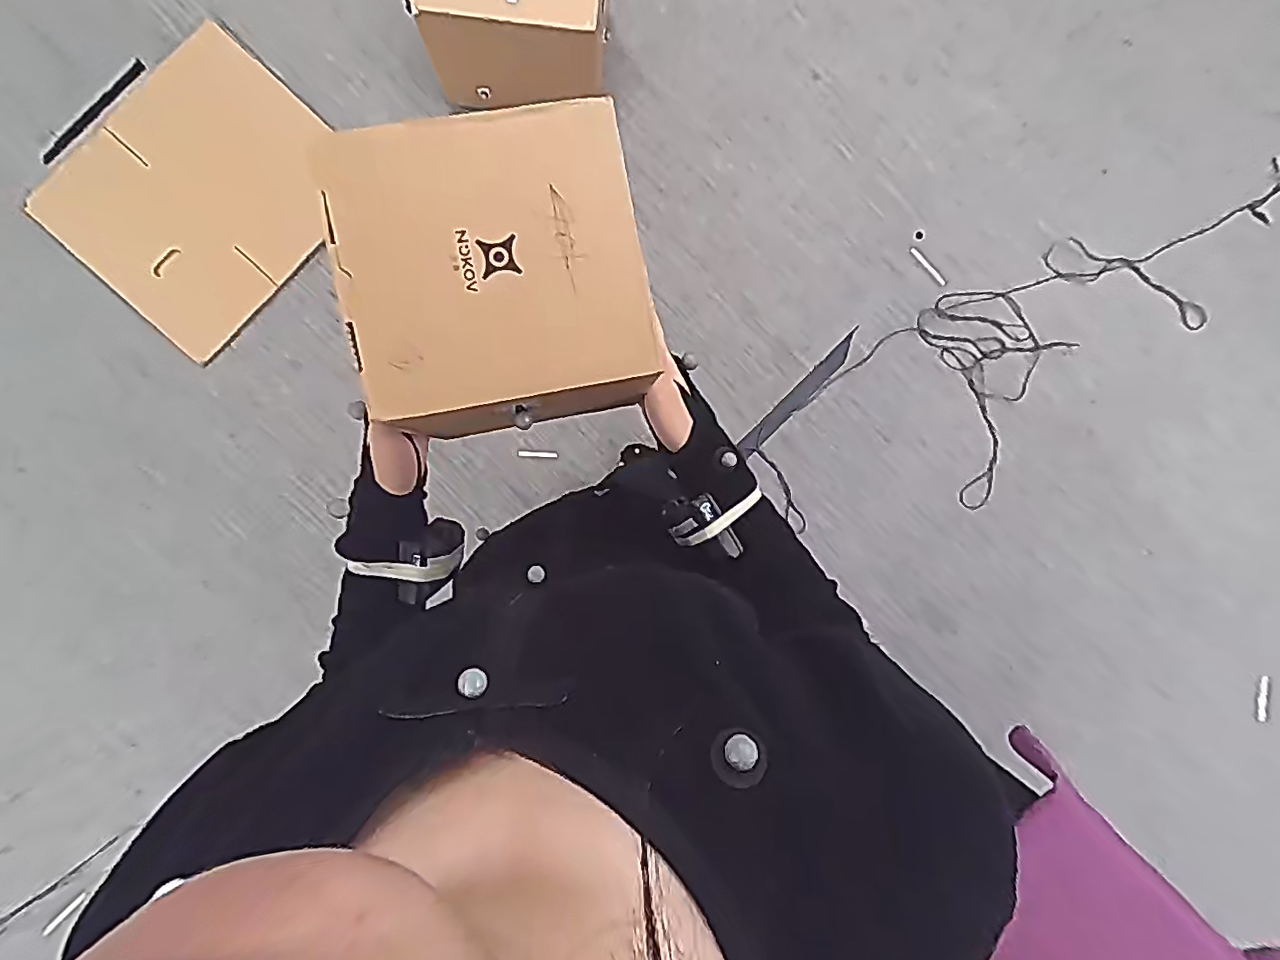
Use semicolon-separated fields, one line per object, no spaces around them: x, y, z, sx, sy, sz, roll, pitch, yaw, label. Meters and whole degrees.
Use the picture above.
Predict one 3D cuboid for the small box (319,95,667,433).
-0.089;-0.132;0.393;0.179;0.176;0.168;-12;93;-6;small box
